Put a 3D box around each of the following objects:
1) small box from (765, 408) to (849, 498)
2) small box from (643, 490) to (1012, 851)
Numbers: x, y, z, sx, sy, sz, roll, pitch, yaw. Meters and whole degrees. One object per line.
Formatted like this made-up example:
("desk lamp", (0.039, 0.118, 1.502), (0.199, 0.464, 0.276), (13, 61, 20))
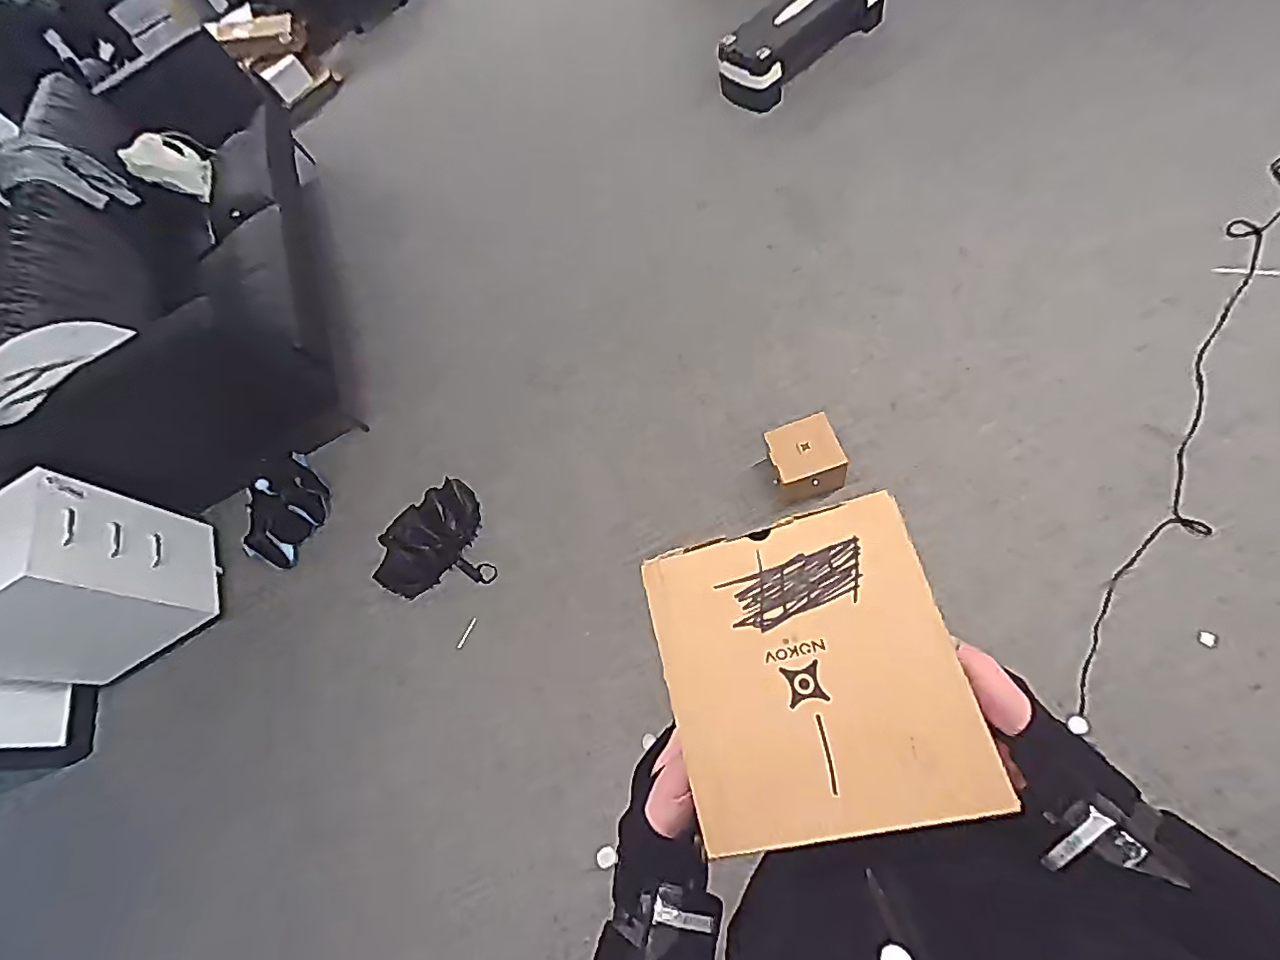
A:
("small box", (0.465, -0.067, 1.512), (0.179, 0.176, 0.168), (-20, 64, 8))
("small box", (0.118, 0.128, 0.388), (0.168, 0.176, 0.179), (-19, 71, 14))
